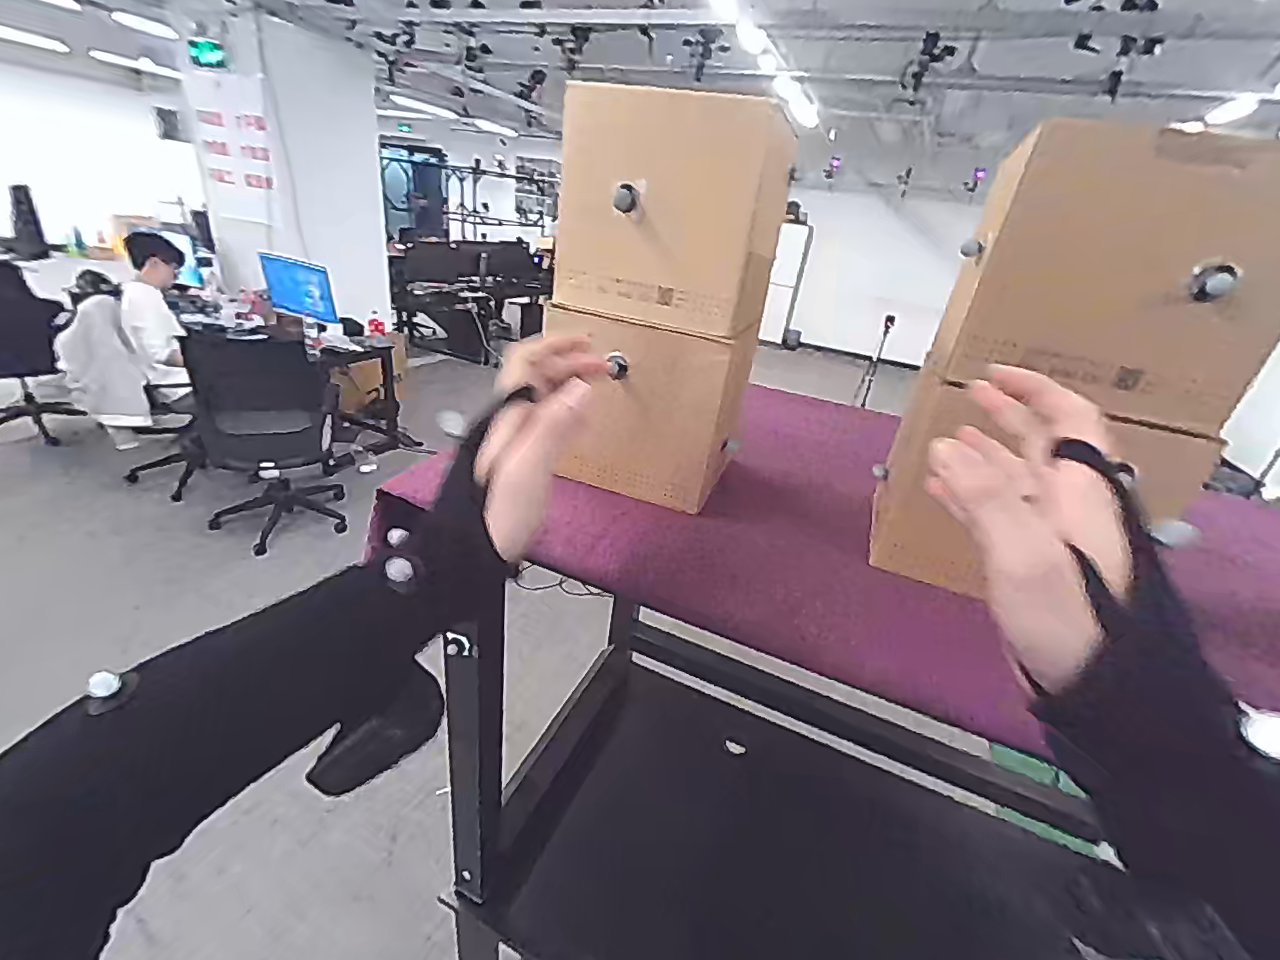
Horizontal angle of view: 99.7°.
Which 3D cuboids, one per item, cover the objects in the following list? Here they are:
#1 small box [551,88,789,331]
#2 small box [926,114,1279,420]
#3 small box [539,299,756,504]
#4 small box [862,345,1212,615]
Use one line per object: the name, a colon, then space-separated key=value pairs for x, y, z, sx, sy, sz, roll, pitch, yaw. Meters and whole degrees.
small box: x=0.030 y=-0.240 z=0.501 sx=0.168 sy=0.176 sz=0.179 roll=15 pitch=26 yaw=15
small box: x=0.333 y=-0.156 z=0.408 sx=0.168 sy=0.176 sz=0.179 roll=18 pitch=27 yaw=19
small box: x=0.007 y=-0.093 z=0.567 sx=0.179 sy=0.176 sz=0.168 roll=16 pitch=28 yaw=15
small box: x=0.314 y=-0.008 z=0.475 sx=0.179 sy=0.176 sz=0.168 roll=16 pitch=27 yaw=19
